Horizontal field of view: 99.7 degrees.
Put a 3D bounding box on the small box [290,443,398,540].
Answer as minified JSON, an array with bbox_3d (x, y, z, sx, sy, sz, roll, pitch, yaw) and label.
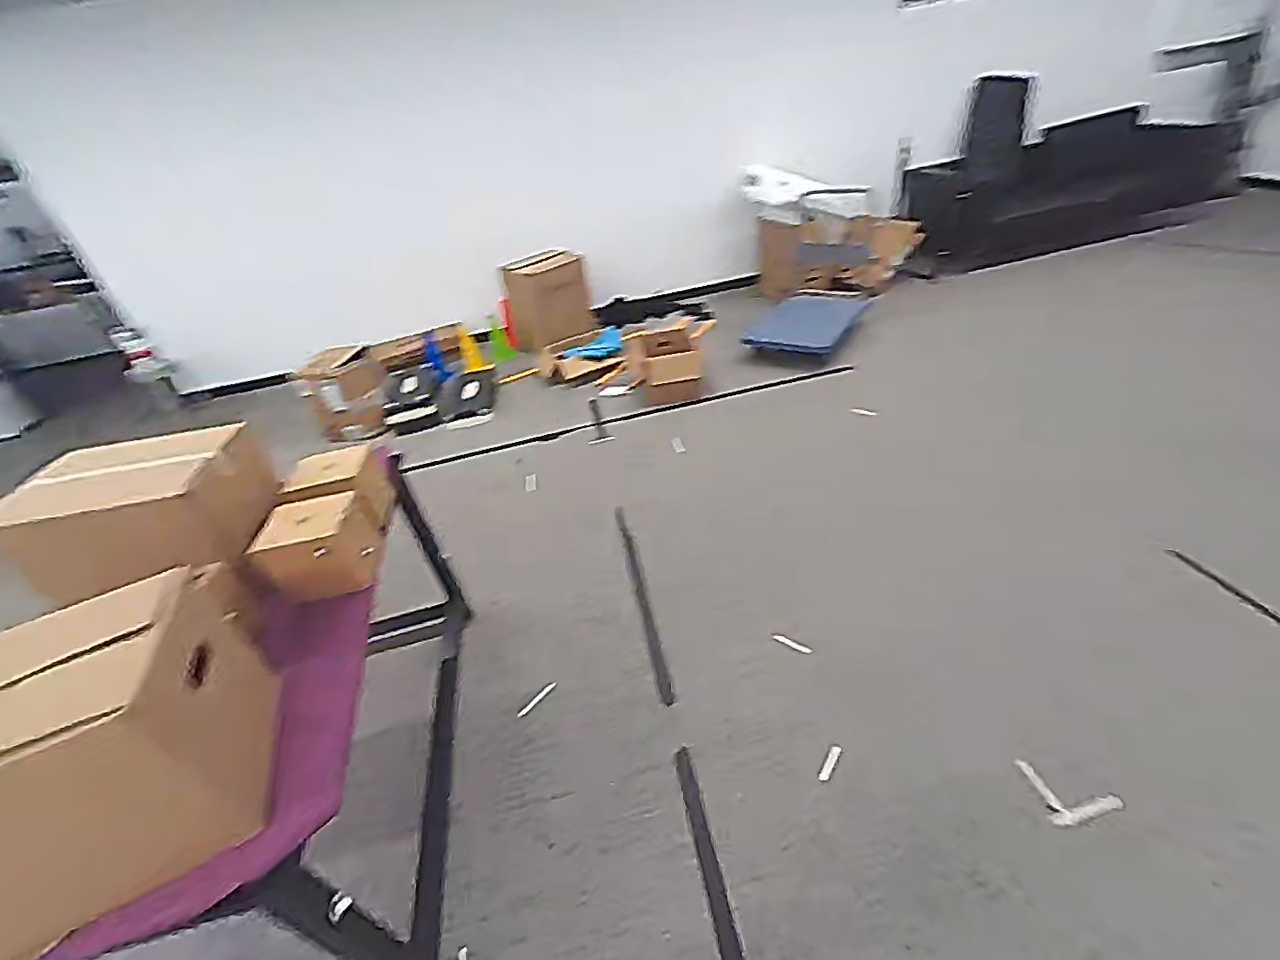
[{"bbox_3d":[-0.760,0.031,1.415,0.179,0.176,0.168,-13,34,-4],"label":"small box"}]
